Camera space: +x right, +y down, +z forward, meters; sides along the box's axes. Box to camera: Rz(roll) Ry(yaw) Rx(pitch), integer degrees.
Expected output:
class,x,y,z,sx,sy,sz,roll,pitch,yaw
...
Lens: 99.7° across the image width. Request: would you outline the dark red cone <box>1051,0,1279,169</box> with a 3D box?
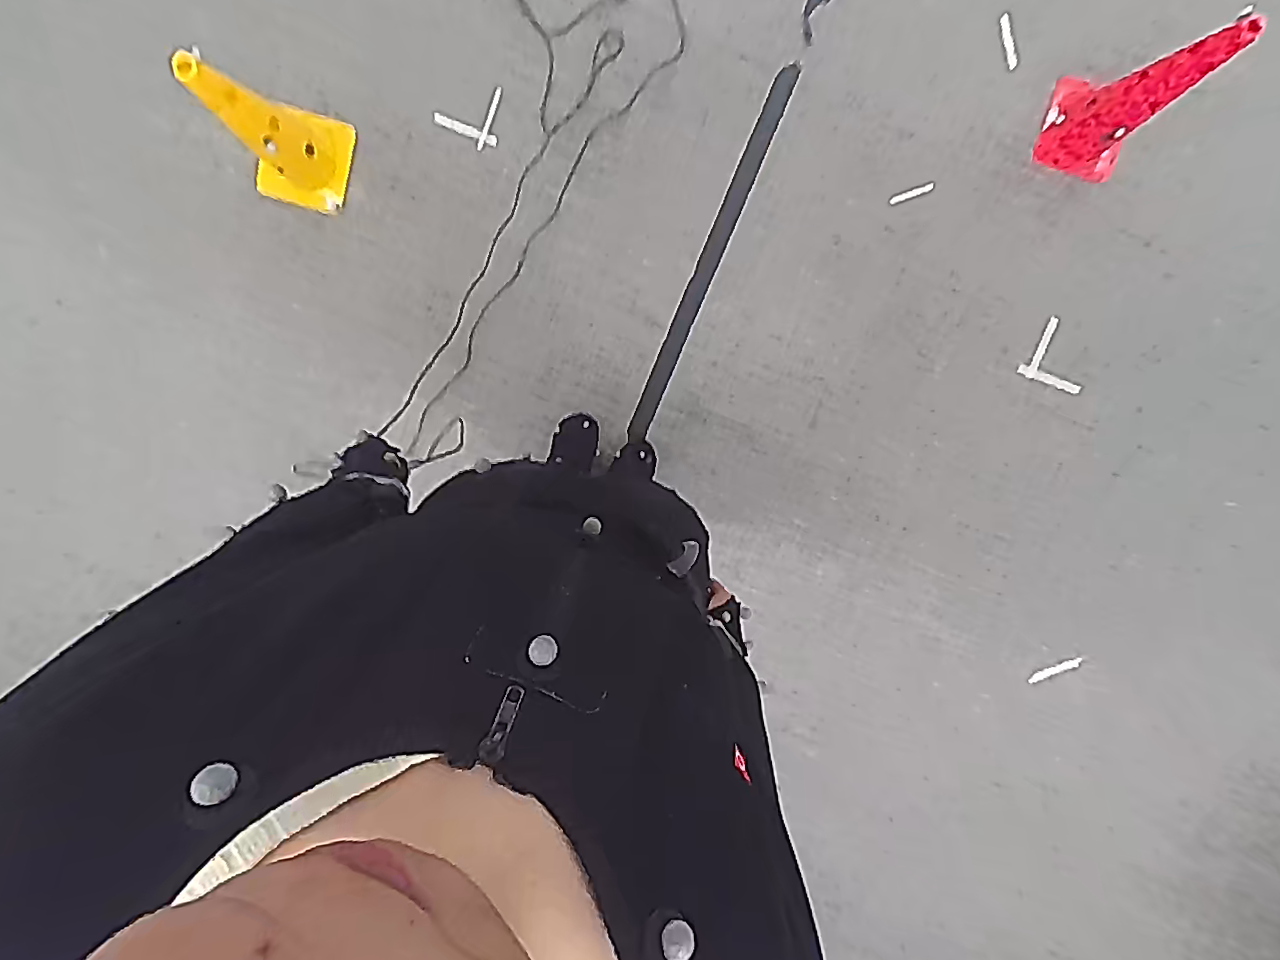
class,x,y,z,sx,sy,sz,roll,pitch,yaw
dark red cone,1.063,-0.814,1.081,0.201,0.394,0.202,15,97,-2
